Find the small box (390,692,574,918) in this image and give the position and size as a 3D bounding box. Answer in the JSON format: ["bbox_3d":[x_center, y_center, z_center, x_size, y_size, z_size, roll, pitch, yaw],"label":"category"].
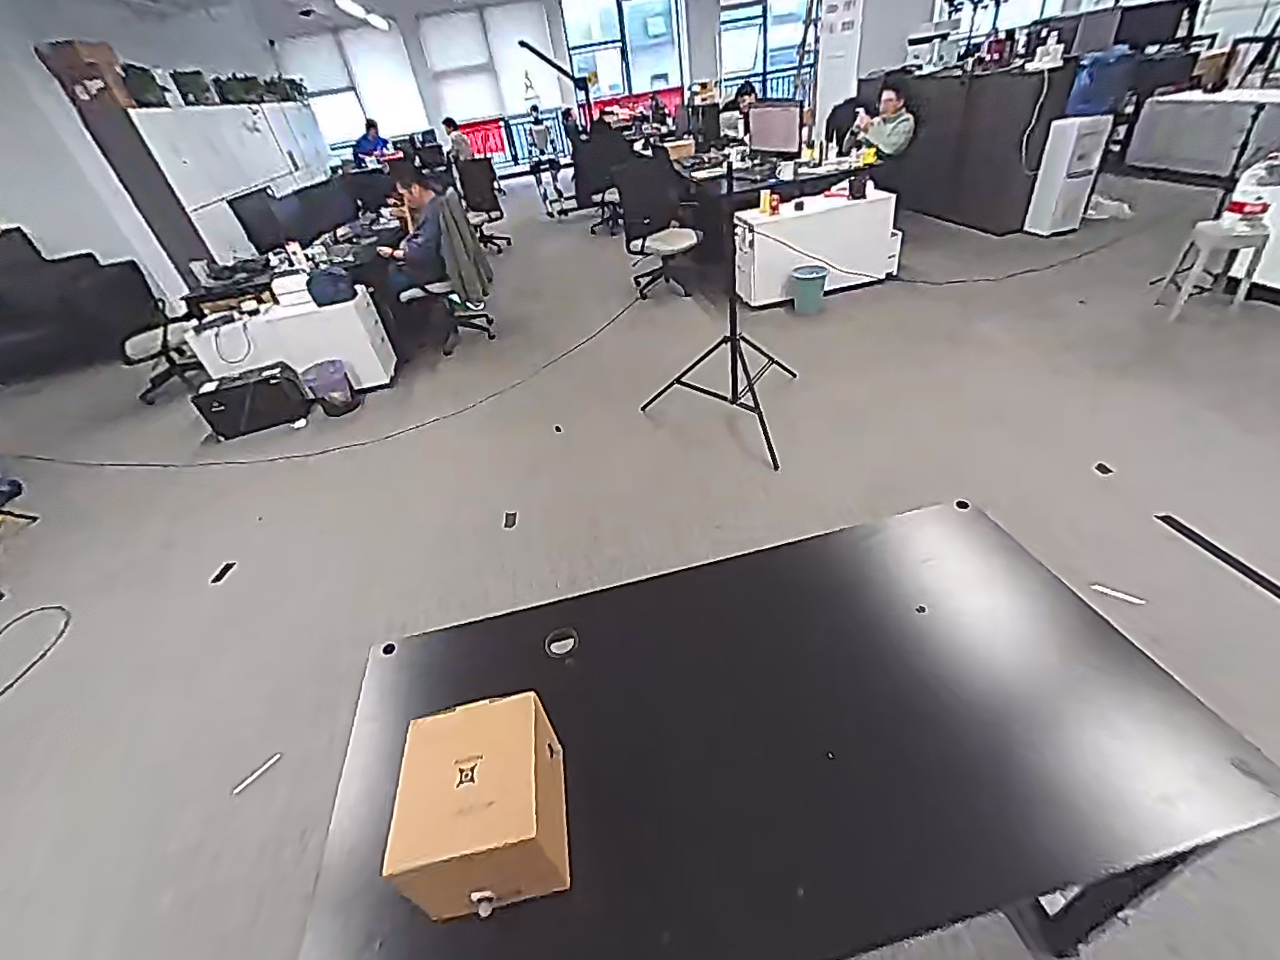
[{"bbox_3d":[-0.185,0.407,0.682,0.168,0.176,0.179,-13,38,-3],"label":"small box"}]
